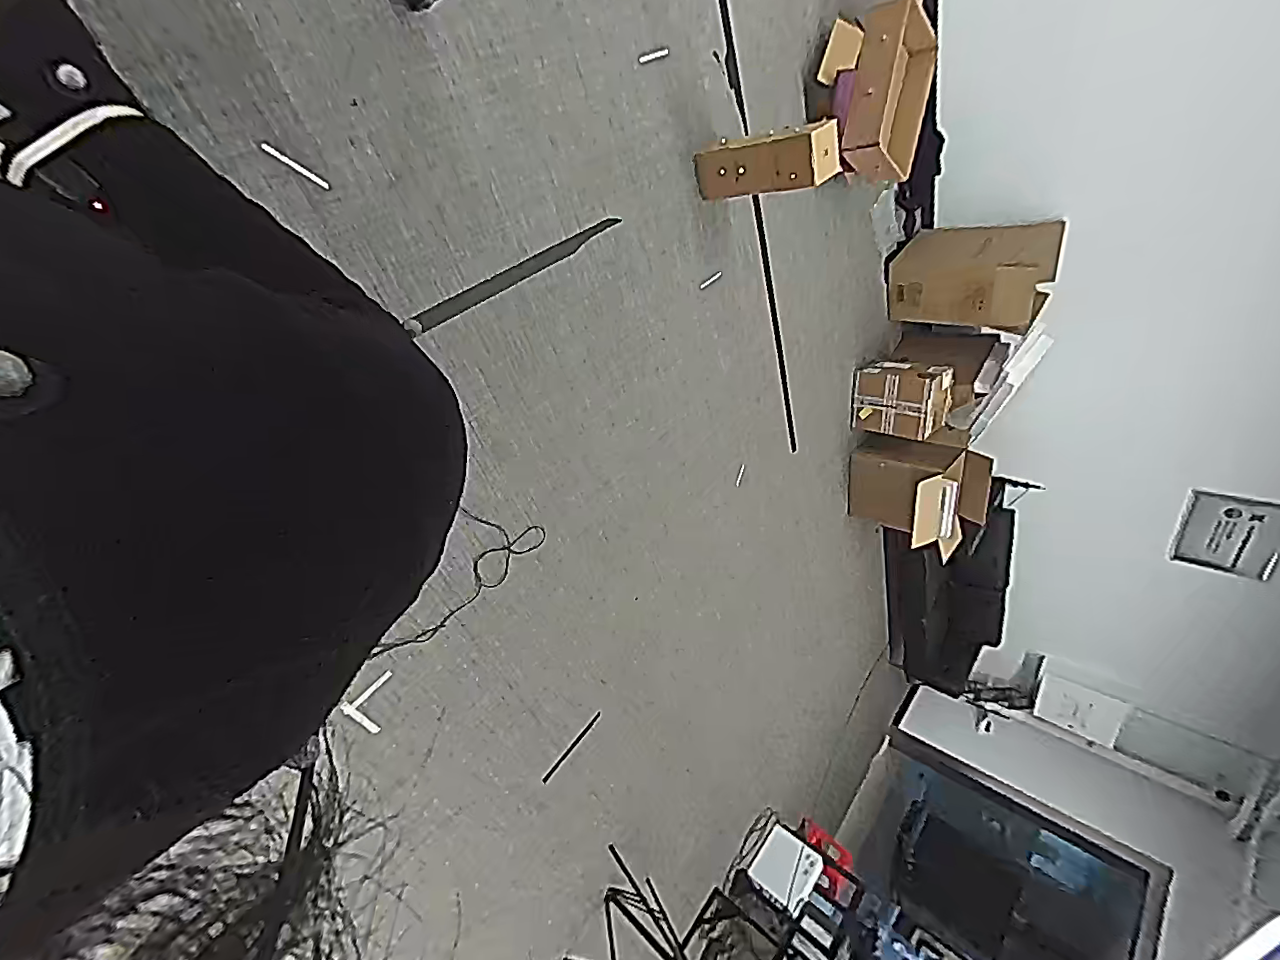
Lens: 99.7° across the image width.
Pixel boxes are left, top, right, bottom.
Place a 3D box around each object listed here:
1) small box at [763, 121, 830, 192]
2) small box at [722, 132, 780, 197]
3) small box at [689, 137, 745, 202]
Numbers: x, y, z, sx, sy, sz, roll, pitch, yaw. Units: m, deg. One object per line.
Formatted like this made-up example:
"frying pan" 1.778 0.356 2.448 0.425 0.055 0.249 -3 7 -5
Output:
"small box" 0.546 -1.132 1.902 0.179 0.176 0.168 -44 132 -29
"small box" 0.428 -1.170 2.007 0.179 0.176 0.168 -42 130 -29
"small box" 0.314 -1.213 2.117 0.168 0.176 0.179 -42 131 -29
